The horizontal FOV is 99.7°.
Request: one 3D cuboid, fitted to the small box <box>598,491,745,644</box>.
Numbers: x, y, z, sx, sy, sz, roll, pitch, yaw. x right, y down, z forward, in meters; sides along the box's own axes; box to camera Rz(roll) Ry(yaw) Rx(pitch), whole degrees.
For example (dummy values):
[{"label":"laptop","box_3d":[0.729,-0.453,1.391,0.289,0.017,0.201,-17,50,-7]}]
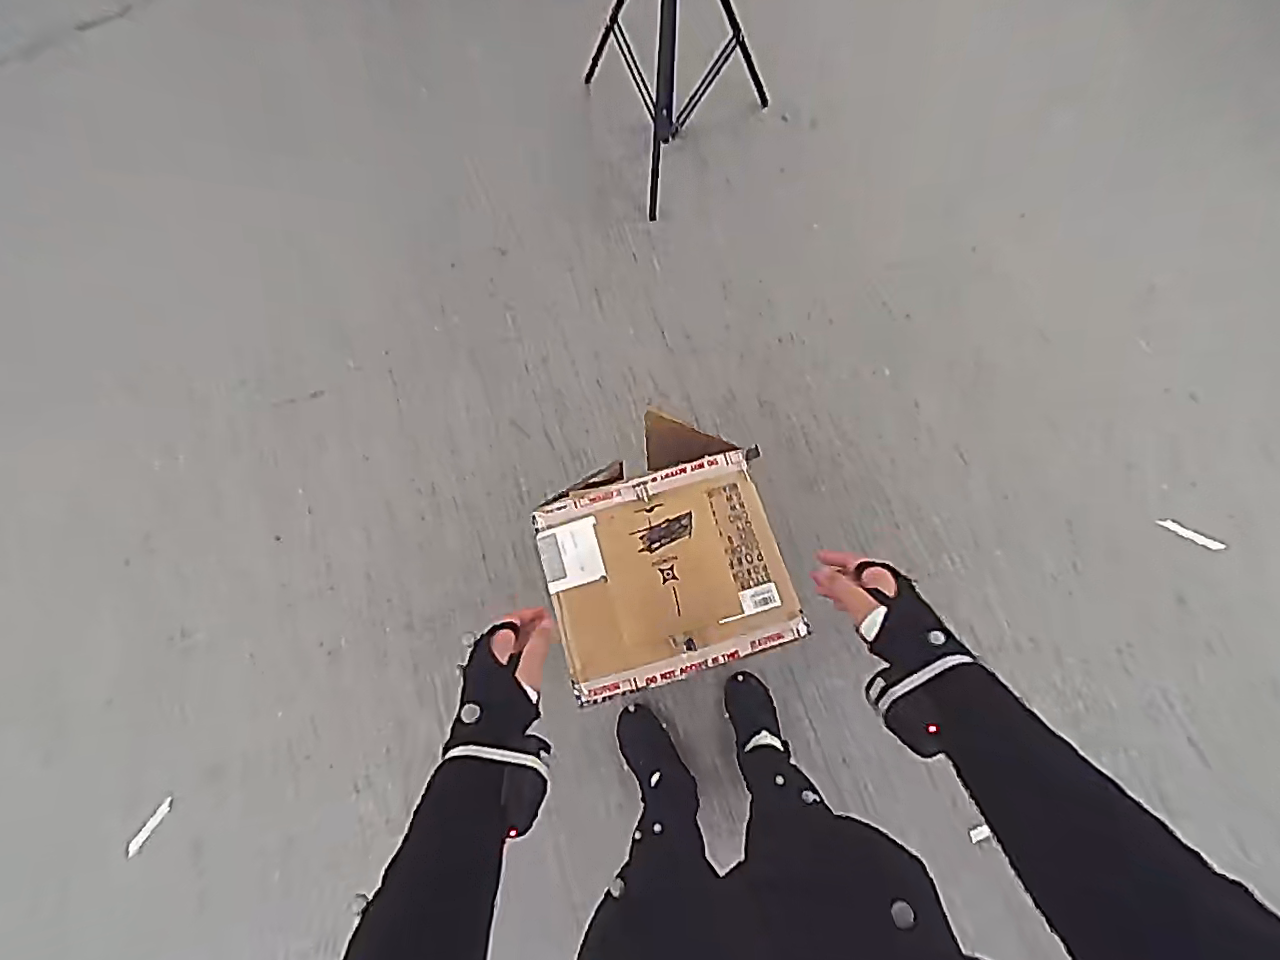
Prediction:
[{"label":"small box","box_3d":[0.040,0.134,0.811,0.168,0.176,0.179,-16,78,-3]}]
